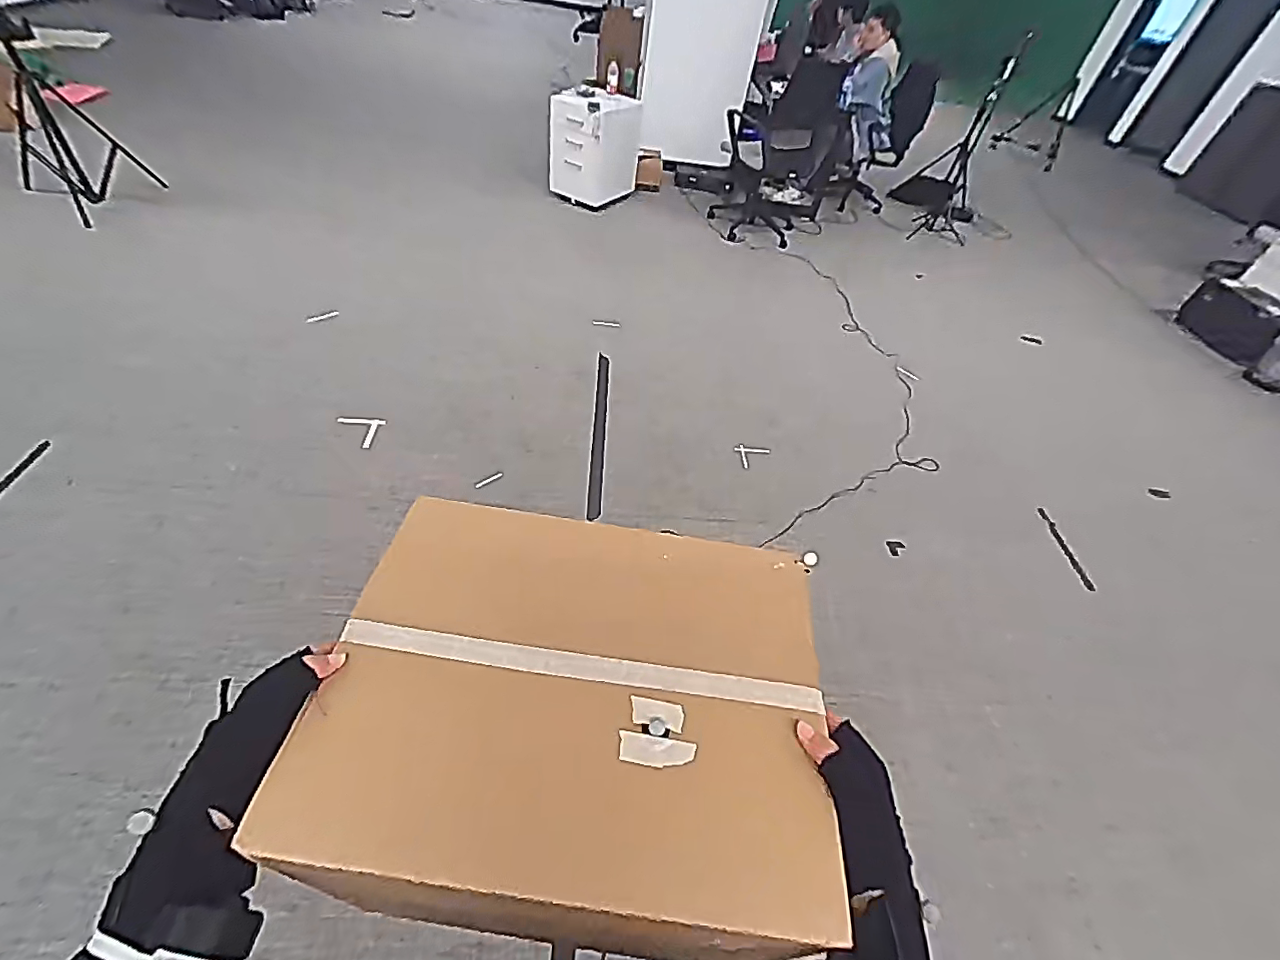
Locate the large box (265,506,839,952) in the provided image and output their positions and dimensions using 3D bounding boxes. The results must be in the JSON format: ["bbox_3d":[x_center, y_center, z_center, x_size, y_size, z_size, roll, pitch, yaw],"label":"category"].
[{"bbox_3d":[-0.062,0.265,0.574,0.408,0.320,0.320,9,46,0],"label":"large box"}]
